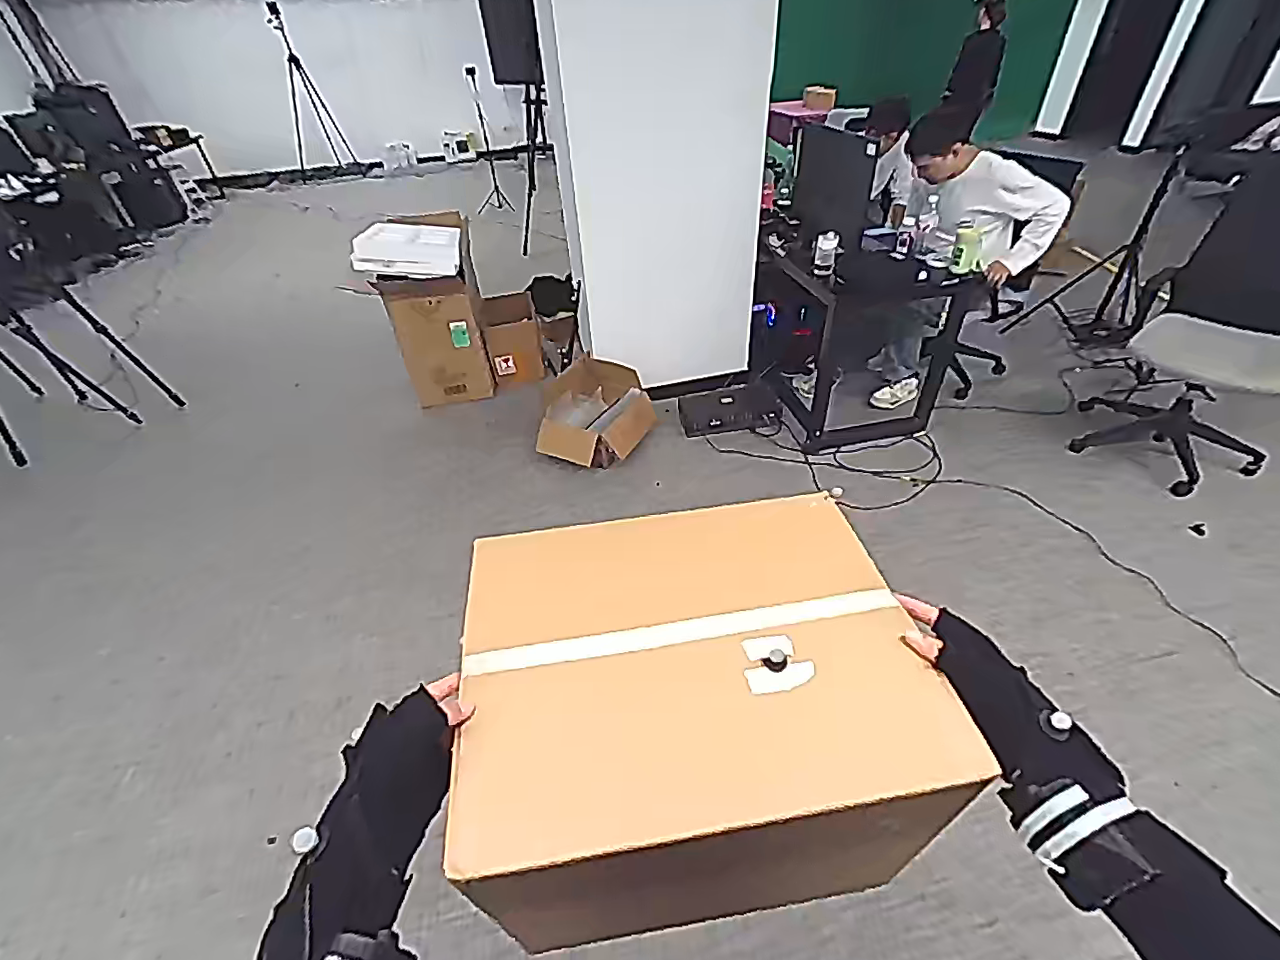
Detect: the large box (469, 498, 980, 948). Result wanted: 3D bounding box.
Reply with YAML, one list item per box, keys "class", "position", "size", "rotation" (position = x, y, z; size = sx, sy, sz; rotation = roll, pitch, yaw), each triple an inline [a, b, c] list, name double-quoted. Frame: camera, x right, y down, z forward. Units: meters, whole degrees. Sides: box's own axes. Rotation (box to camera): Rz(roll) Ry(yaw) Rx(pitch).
- class: "large box"
  position: [0.052, 0.258, 0.605]
  size: [0.408, 0.320, 0.320]
  rotation: [-8, 42, -6]
